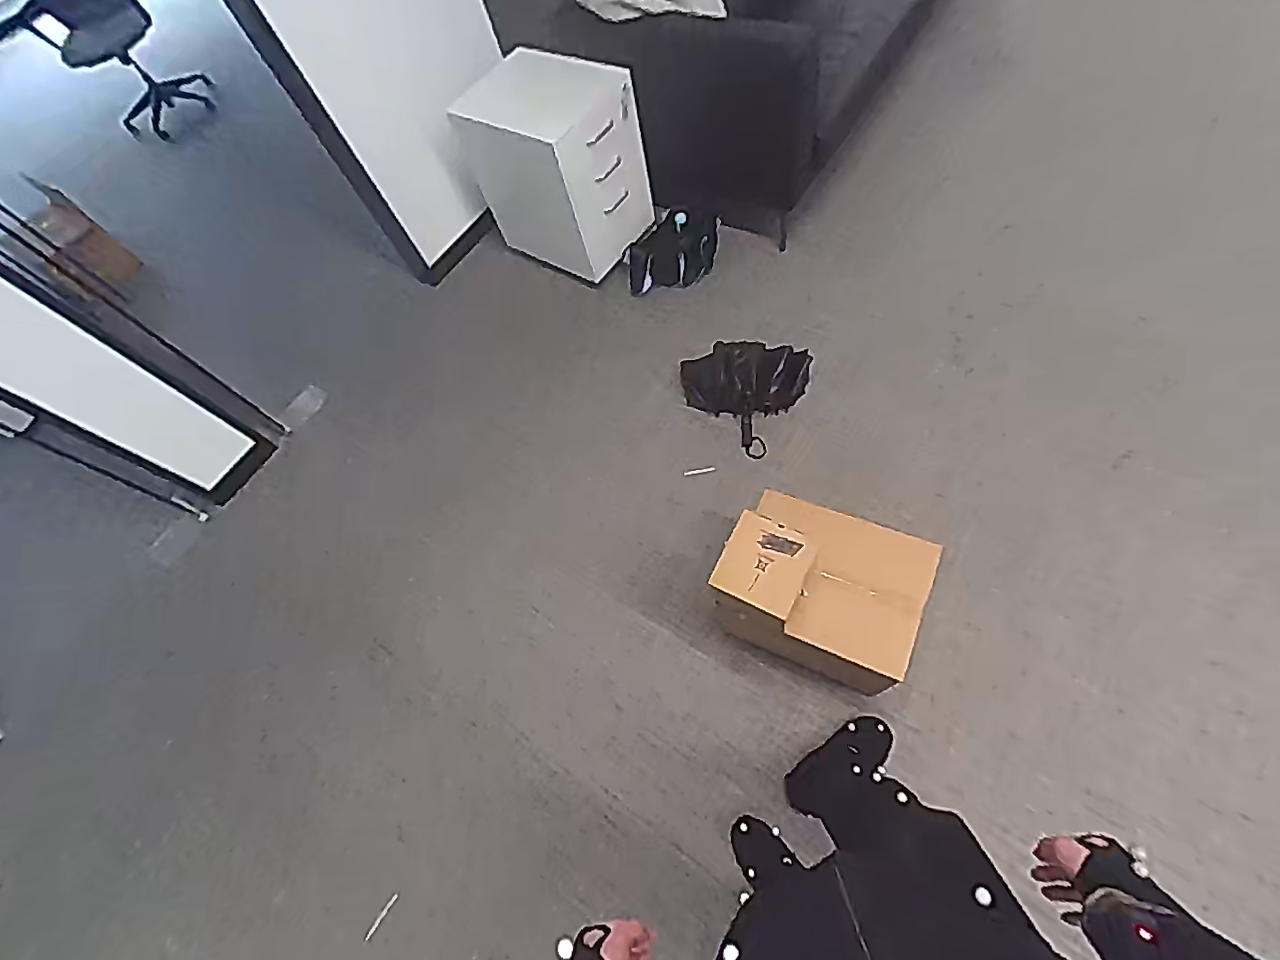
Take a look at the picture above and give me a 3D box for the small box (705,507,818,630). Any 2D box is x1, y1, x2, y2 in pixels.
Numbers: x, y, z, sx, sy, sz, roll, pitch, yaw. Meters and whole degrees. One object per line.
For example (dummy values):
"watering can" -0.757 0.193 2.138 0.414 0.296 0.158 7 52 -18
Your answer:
"small box" 0.249 0.188 1.123 0.168 0.176 0.179 24 73 21
